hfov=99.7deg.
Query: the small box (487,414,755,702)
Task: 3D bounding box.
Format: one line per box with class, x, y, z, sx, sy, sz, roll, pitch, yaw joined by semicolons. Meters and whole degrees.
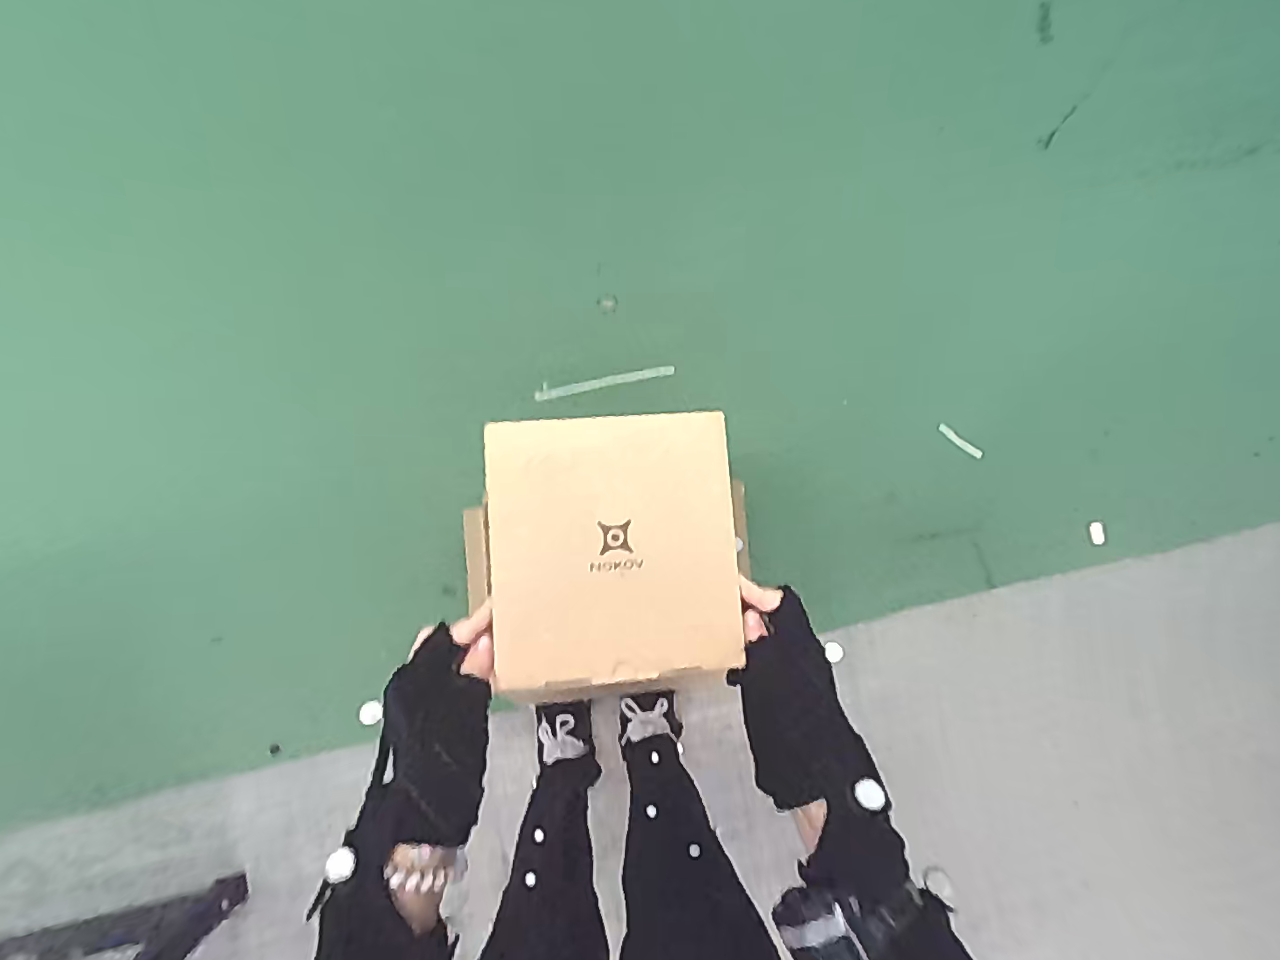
small box;-0.021;0.055;0.427;0.168;0.176;0.179;-5;84;-6
